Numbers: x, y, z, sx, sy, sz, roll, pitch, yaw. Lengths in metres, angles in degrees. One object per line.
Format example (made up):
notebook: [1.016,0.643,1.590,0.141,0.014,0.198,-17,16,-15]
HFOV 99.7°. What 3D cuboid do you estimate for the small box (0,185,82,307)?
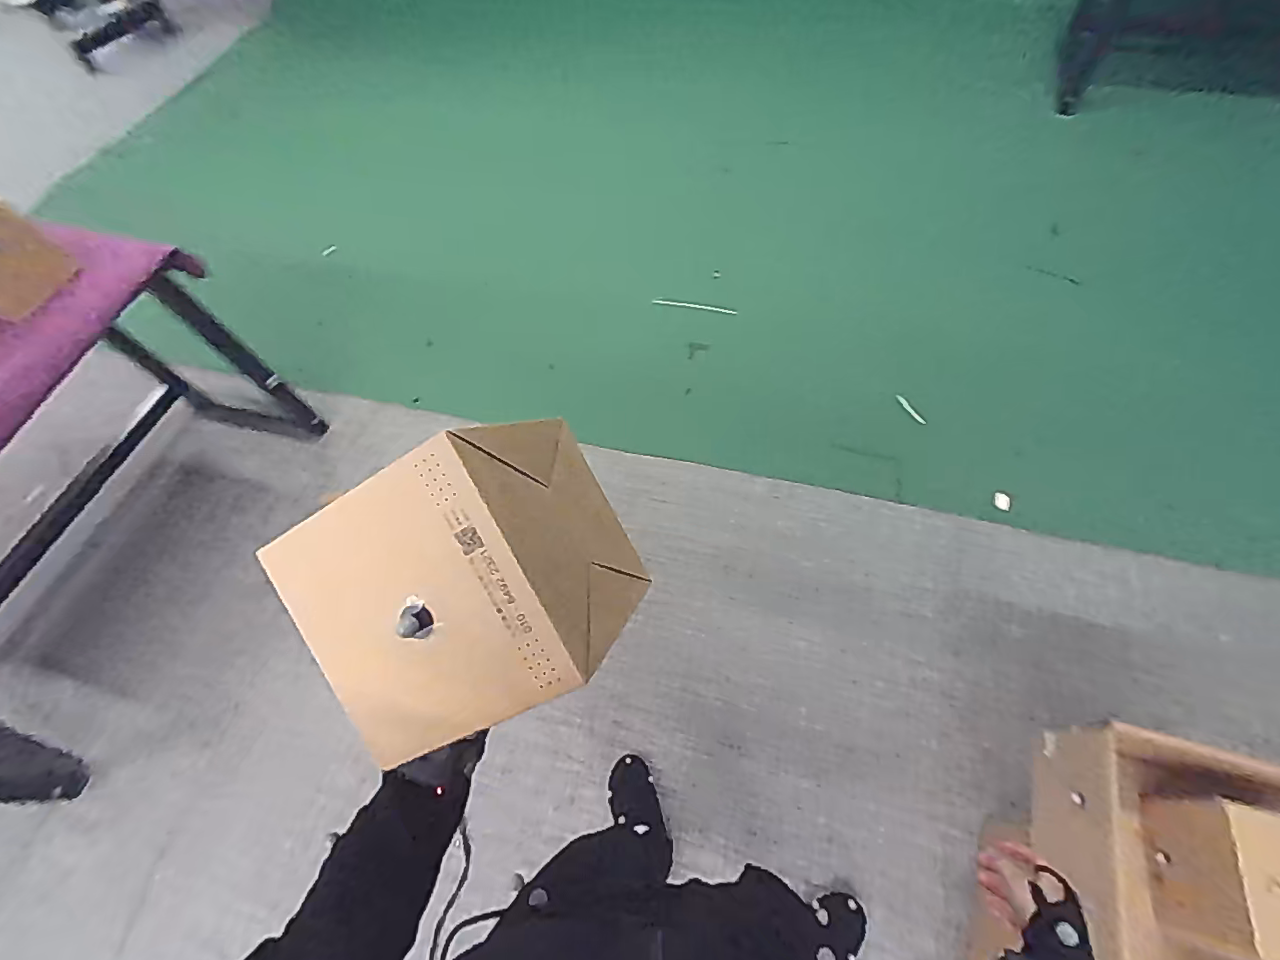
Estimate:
small box: [-1.339,-0.484,1.113,0.168,0.176,0.179,14,64,13]
